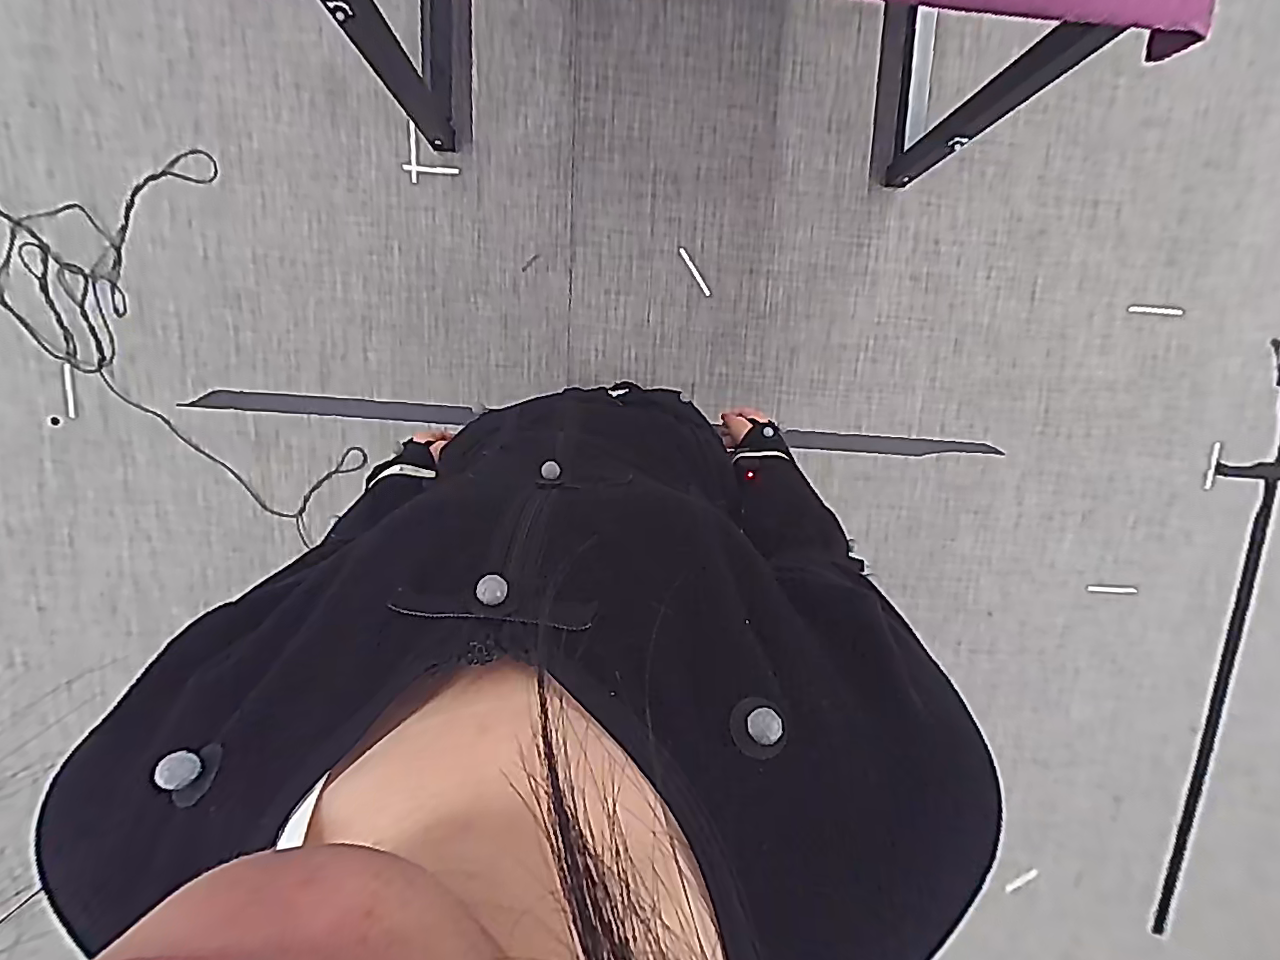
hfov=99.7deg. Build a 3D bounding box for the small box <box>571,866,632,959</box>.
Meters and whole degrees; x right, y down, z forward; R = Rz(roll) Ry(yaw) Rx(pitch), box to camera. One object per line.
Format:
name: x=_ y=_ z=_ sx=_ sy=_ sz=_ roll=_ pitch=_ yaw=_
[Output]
small box: x=-0.115 y=1.300 z=1.621 sx=0.168 sy=0.176 sz=0.179 roll=5 pitch=100 yaw=-2
